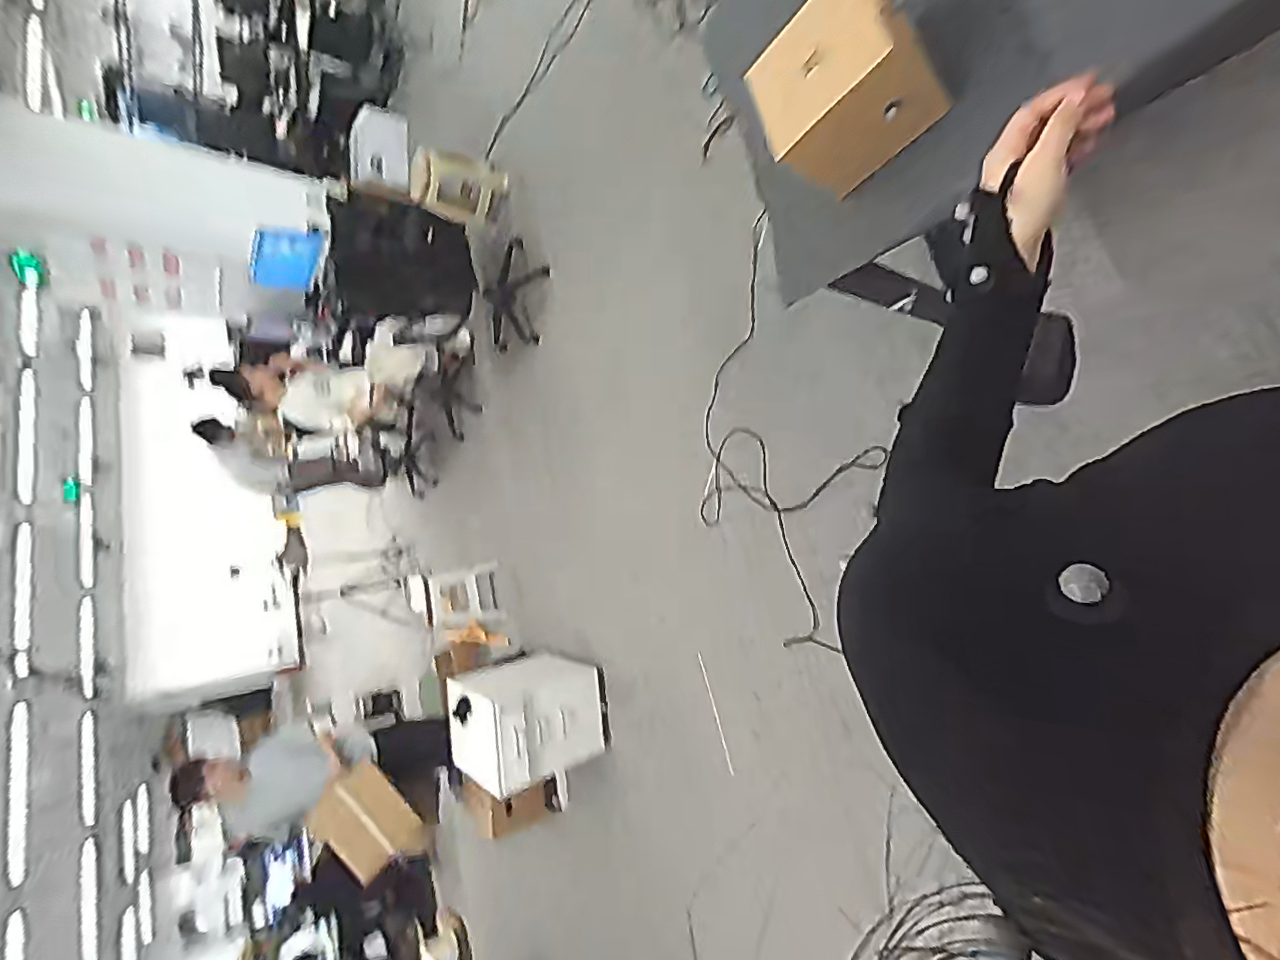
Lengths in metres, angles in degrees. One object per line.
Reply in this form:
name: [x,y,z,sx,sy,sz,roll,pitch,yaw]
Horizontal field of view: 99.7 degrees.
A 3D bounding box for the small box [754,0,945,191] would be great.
small box: [0.296,-0.550,0.757,0.179,0.176,0.168,-30,67,48]
